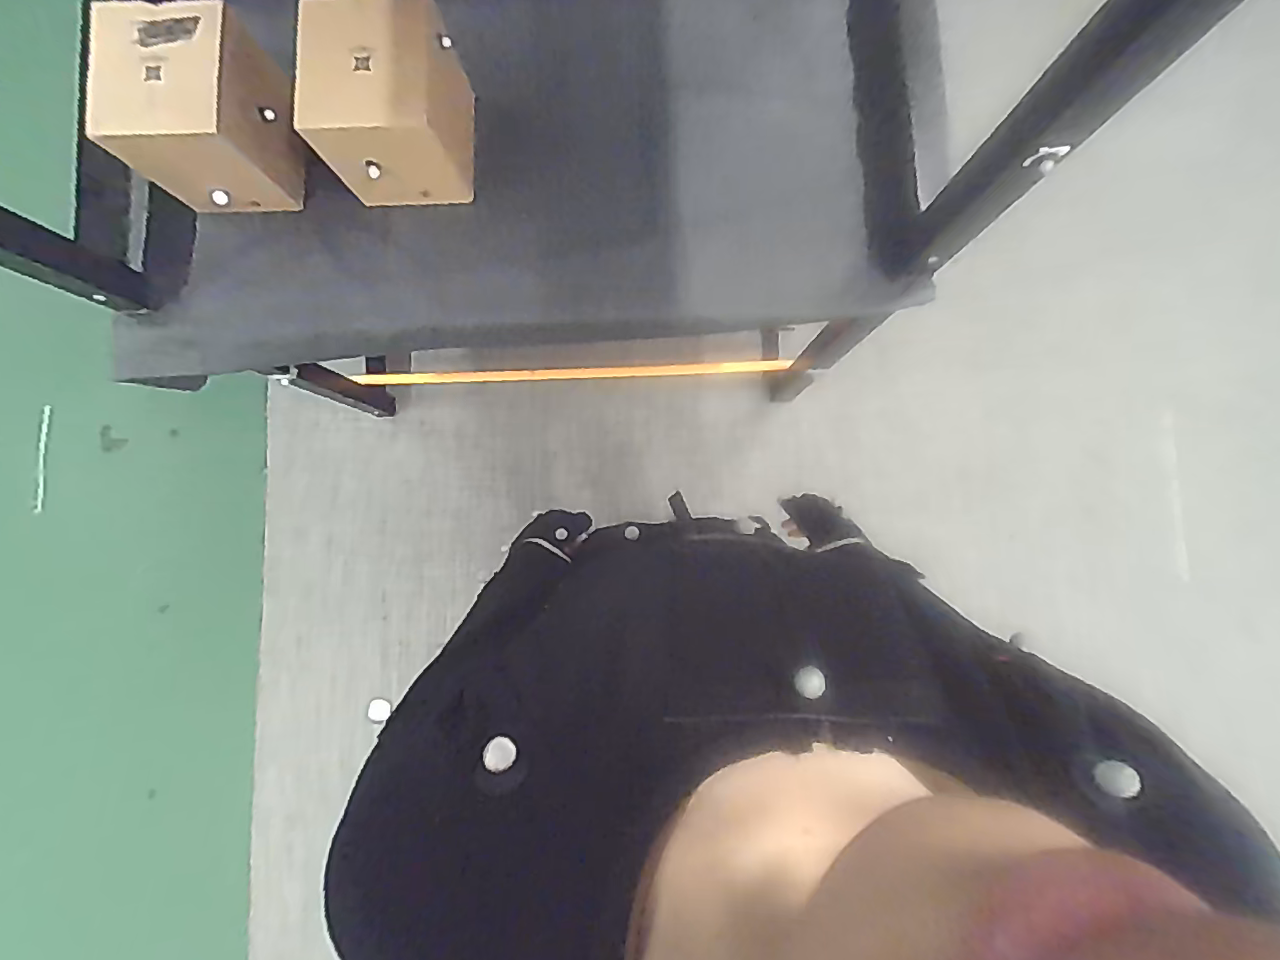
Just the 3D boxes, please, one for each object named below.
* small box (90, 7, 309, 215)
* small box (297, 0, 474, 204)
[{"bbox_3d":[-0.588,-0.494,0.744,0.168,0.176,0.179,-1,86,2],"label":"small box"},{"bbox_3d":[-0.335,-0.501,0.741,0.168,0.176,0.179,-1,85,1],"label":"small box"}]
